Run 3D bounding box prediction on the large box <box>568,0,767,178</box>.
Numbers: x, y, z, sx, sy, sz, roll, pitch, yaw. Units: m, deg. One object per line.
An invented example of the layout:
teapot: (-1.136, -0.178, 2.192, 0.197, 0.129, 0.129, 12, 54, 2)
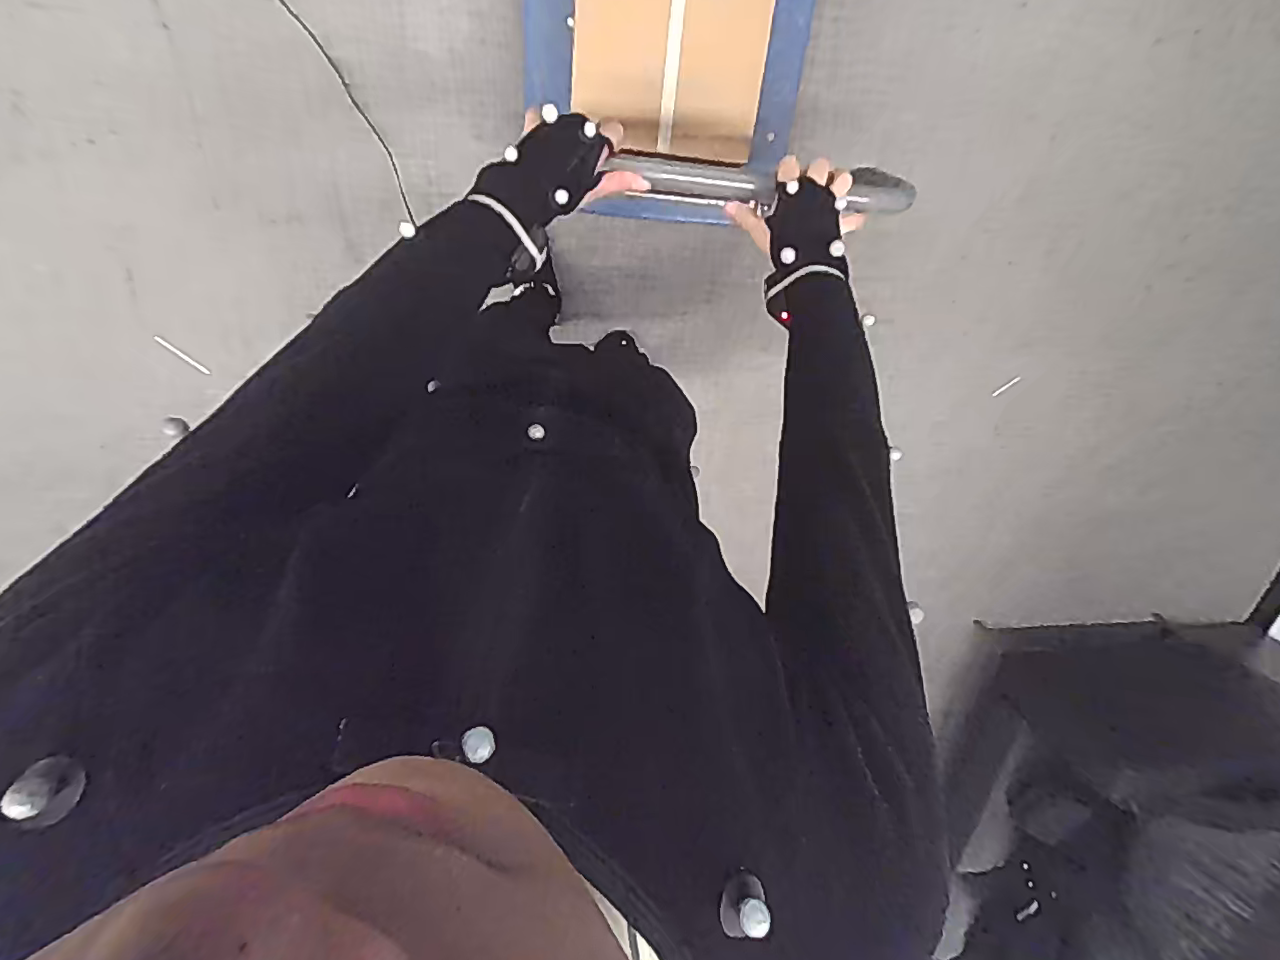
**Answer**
large box: (0.036, -0.810, 0.995, 0.320, 0.320, 0.408, 3, 114, -8)
